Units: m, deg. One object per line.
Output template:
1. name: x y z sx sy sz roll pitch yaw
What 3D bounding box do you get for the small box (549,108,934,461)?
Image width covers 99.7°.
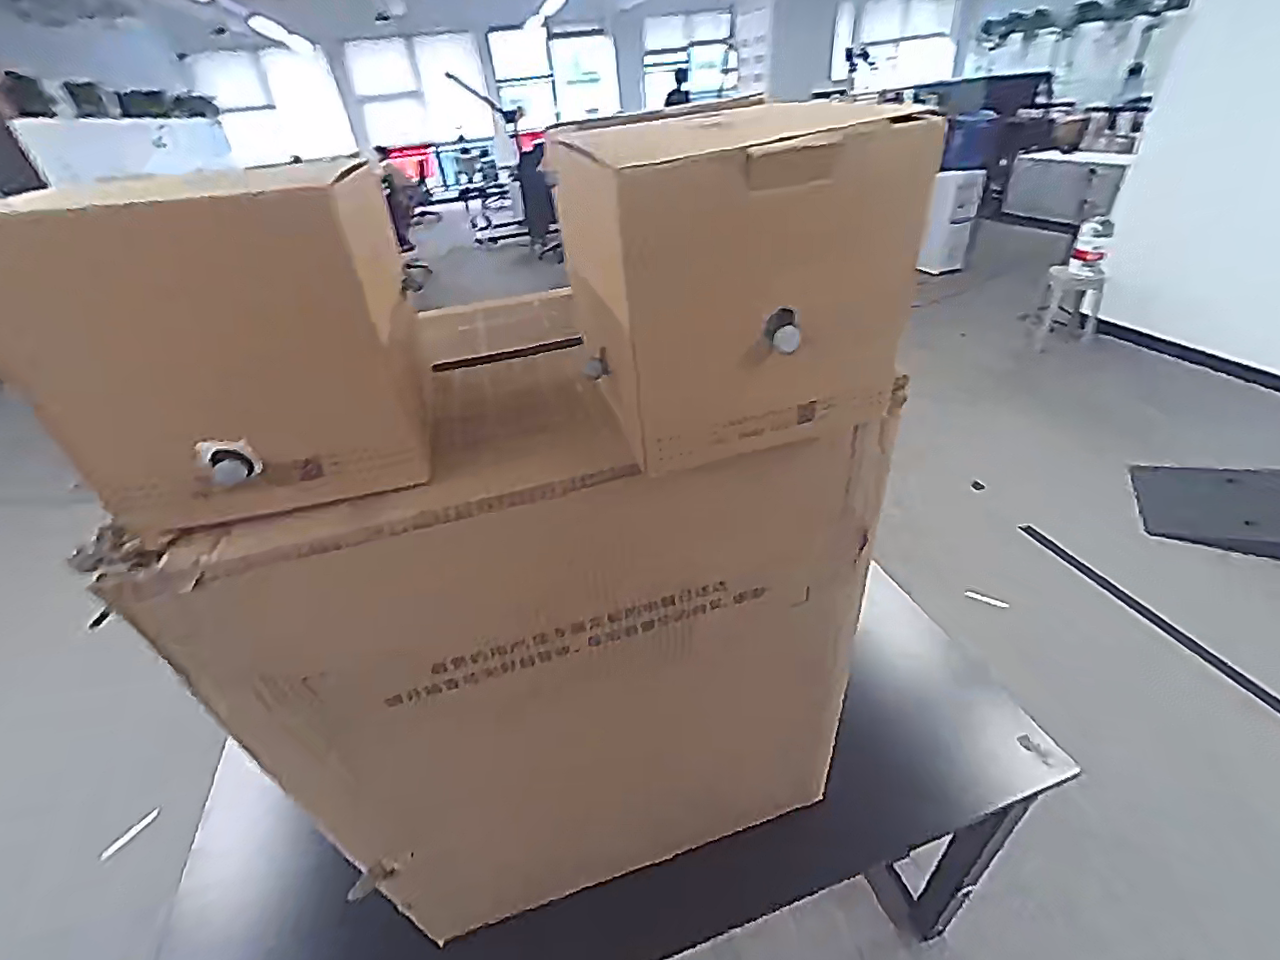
1. small box: 0.049 -0.128 0.356 0.168 0.176 0.179 -15 39 -10

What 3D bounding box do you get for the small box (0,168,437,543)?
1. small box: -0.235 -0.088 0.341 0.168 0.176 0.179 -13 37 -12

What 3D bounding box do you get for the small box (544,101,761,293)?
1. small box: 0.010 -0.266 0.548 0.168 0.176 0.179 -16 33 -11
